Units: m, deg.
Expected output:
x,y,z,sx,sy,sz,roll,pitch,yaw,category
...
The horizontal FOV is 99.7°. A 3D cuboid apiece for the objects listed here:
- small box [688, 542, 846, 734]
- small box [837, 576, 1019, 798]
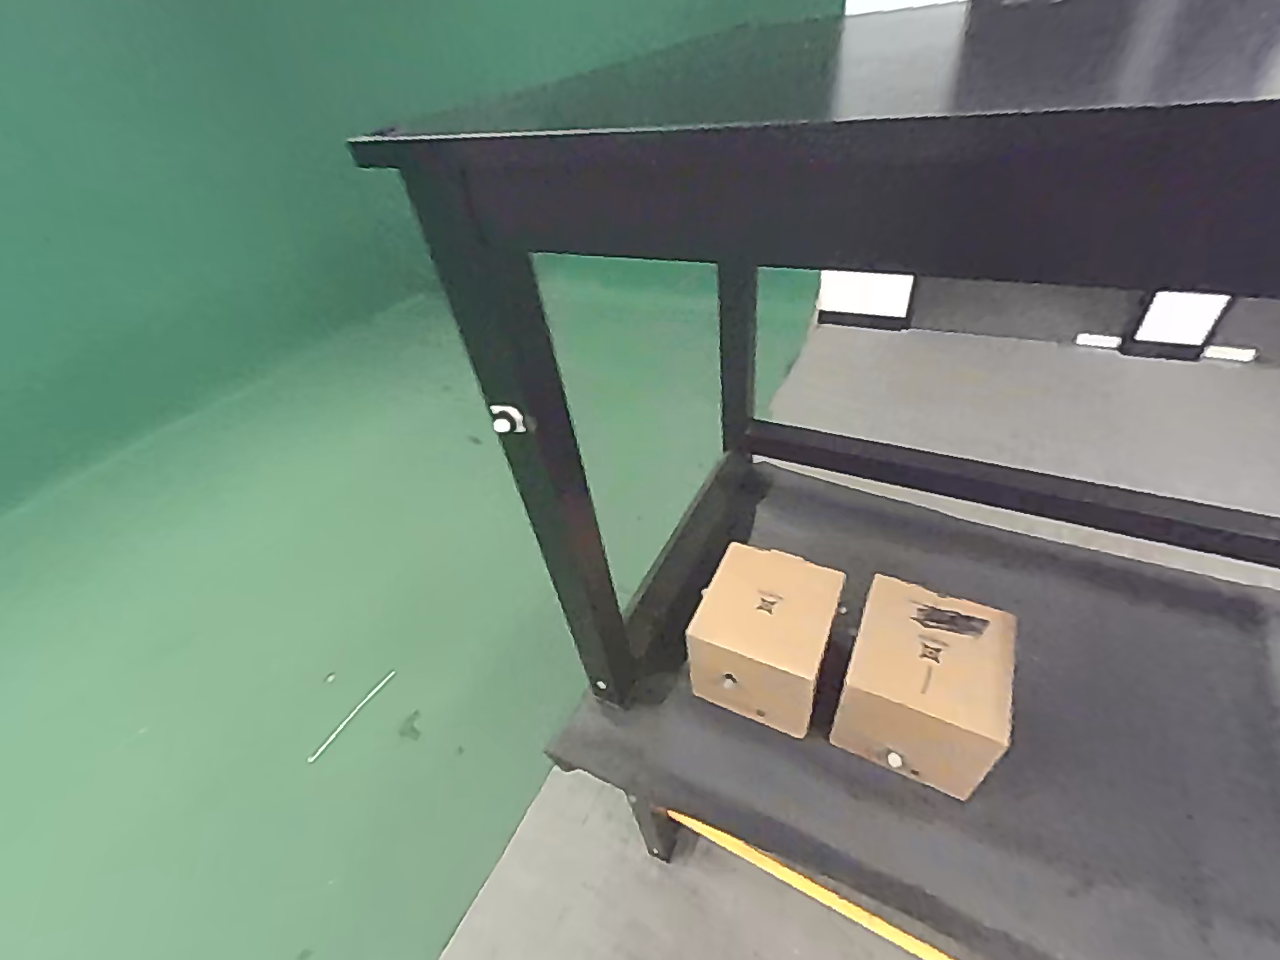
x,y,z,sx,sy,sz,roll,pitch,yaw,category
0.182,0.223,0.767,0.168,0.176,0.179,14,46,25,small box
0.360,0.260,0.690,0.168,0.176,0.179,14,46,26,small box
